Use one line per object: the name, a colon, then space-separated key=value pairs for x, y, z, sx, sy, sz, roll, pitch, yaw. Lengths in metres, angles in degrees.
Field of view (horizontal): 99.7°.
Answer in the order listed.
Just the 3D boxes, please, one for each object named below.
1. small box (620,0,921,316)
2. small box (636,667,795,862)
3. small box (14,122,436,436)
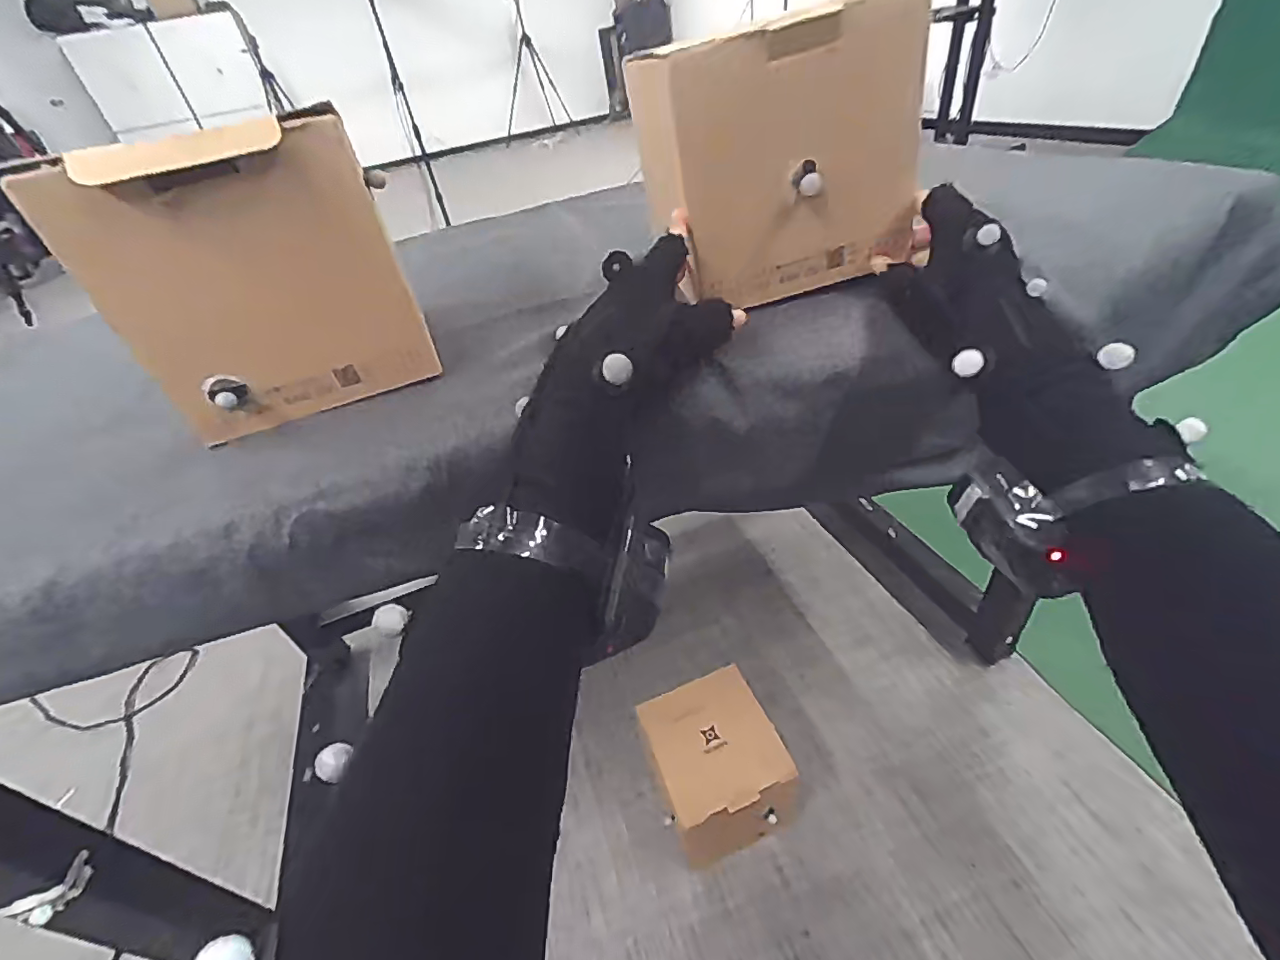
small box: x=0.094 y=-0.249 z=0.434 sx=0.168 sy=0.176 sz=0.179 roll=-16 pitch=38 yaw=-1
small box: x=0.109 y=0.416 z=0.787 sx=0.168 sy=0.176 sz=0.179 roll=-19 pitch=37 yaw=-12
small box: x=-0.268 y=-0.151 z=0.406 sx=0.168 sy=0.176 sz=0.179 roll=-21 pitch=37 yaw=-13
